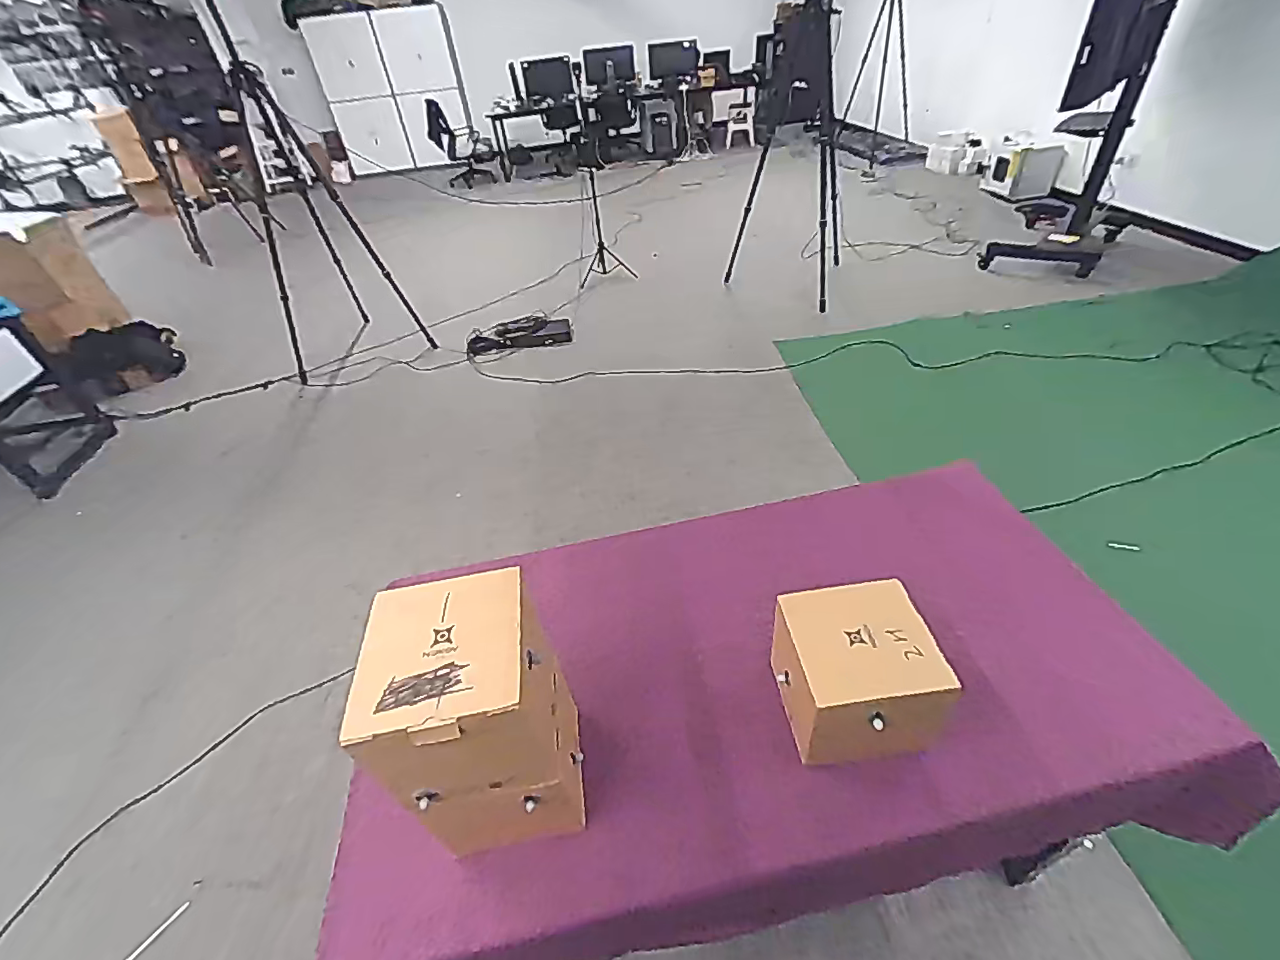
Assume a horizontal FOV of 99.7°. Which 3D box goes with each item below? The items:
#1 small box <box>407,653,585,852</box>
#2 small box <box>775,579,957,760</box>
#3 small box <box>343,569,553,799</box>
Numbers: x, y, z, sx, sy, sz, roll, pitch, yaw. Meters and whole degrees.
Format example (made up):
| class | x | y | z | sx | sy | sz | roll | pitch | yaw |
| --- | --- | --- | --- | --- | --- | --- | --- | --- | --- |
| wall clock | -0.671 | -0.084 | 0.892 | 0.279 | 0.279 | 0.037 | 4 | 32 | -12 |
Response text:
| class | x | y | z | sx | sy | sz | roll | pitch | yaw |
| --- | --- | --- | --- | --- | --- | --- | --- | --- | --- |
| small box | -0.177 | 0.360 | 0.712 | 0.179 | 0.176 | 0.168 | -10 | 40 | -3 |
| small box | 0.290 | 0.262 | 0.743 | 0.179 | 0.176 | 0.168 | -8 | 41 | 0 |
| small box | -0.196 | 0.232 | 0.610 | 0.168 | 0.176 | 0.179 | -11 | 39 | -4 |
